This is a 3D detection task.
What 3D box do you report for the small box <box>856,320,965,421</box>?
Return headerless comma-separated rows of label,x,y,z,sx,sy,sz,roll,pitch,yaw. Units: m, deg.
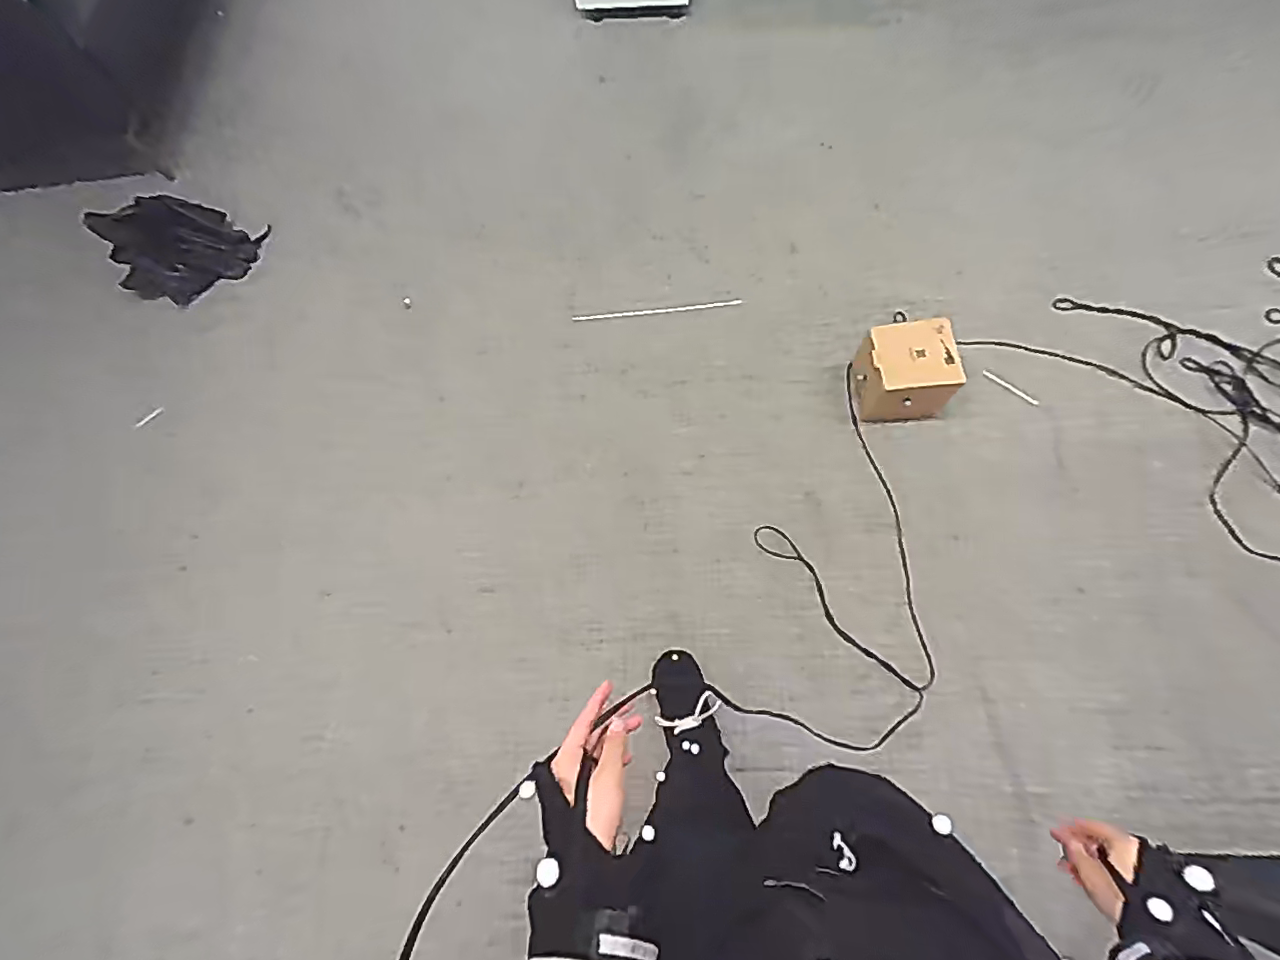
small box,0.620,-0.249,1.270,0.179,0.176,0.168,-5,71,6
